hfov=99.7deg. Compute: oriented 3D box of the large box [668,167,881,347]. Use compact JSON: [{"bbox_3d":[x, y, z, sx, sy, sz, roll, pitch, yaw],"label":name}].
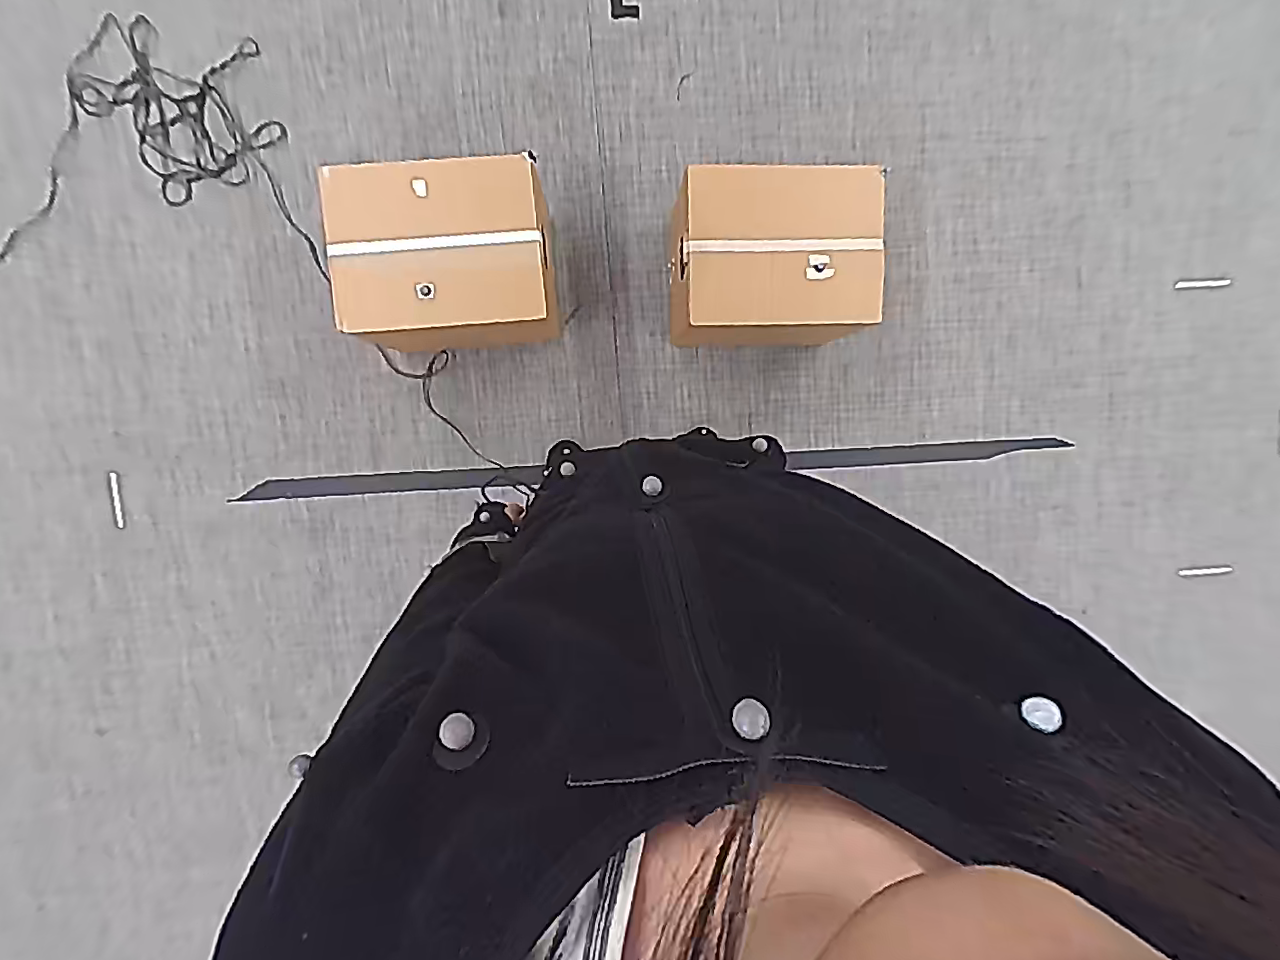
[{"bbox_3d":[0.286,-0.491,1.251,0.408,0.320,0.320,-1,96,-4],"label":"large box"}]
